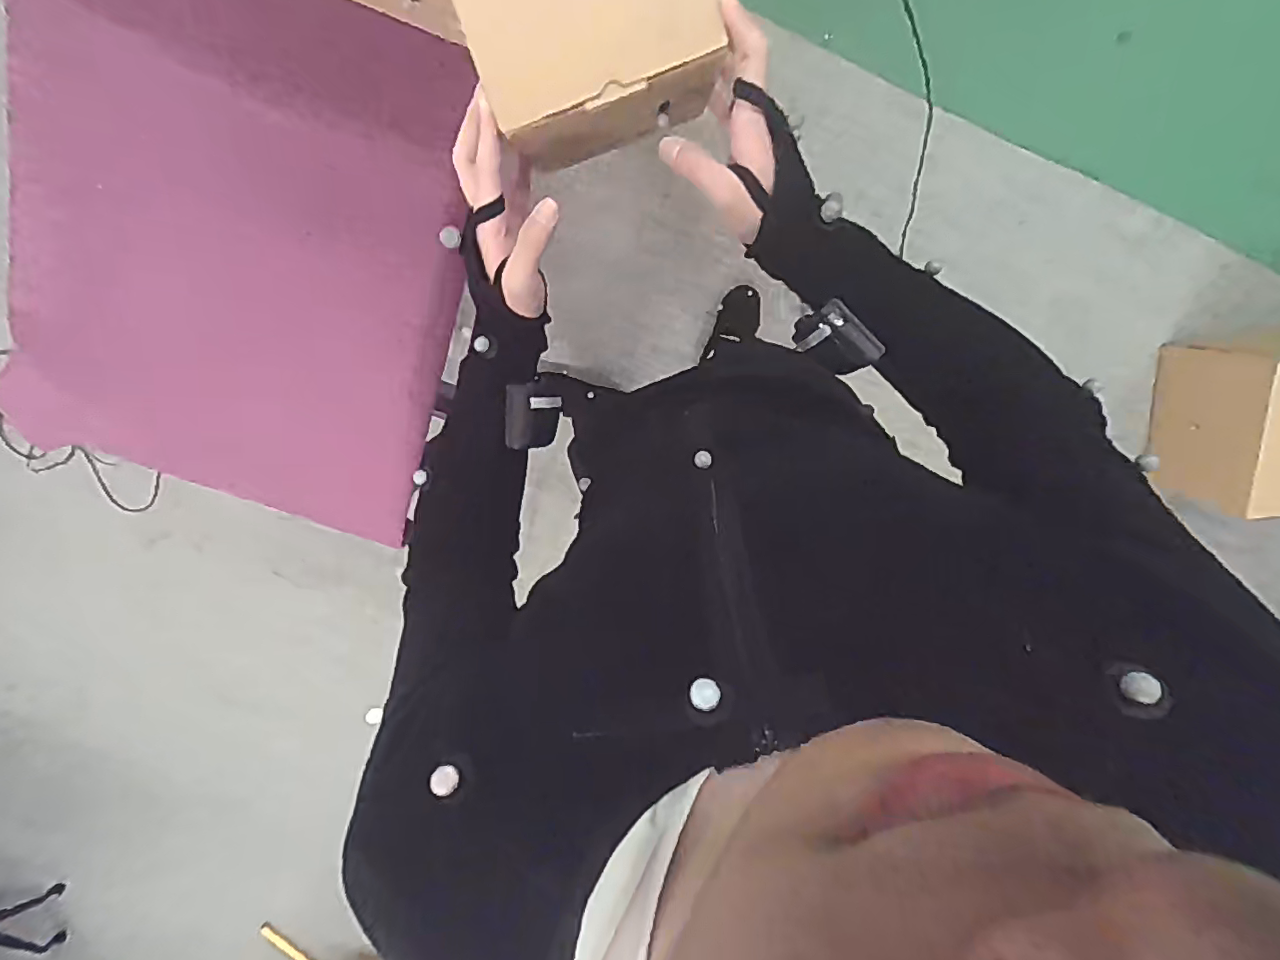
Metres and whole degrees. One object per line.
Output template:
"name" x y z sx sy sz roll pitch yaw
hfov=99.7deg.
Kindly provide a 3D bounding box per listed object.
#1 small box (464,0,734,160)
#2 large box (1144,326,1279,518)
"small box" -0.038 -0.366 0.411 0.168 0.176 0.179 -16 110 5
"large box" 1.612 -0.163 1.408 0.320 0.320 0.408 -11 108 5
